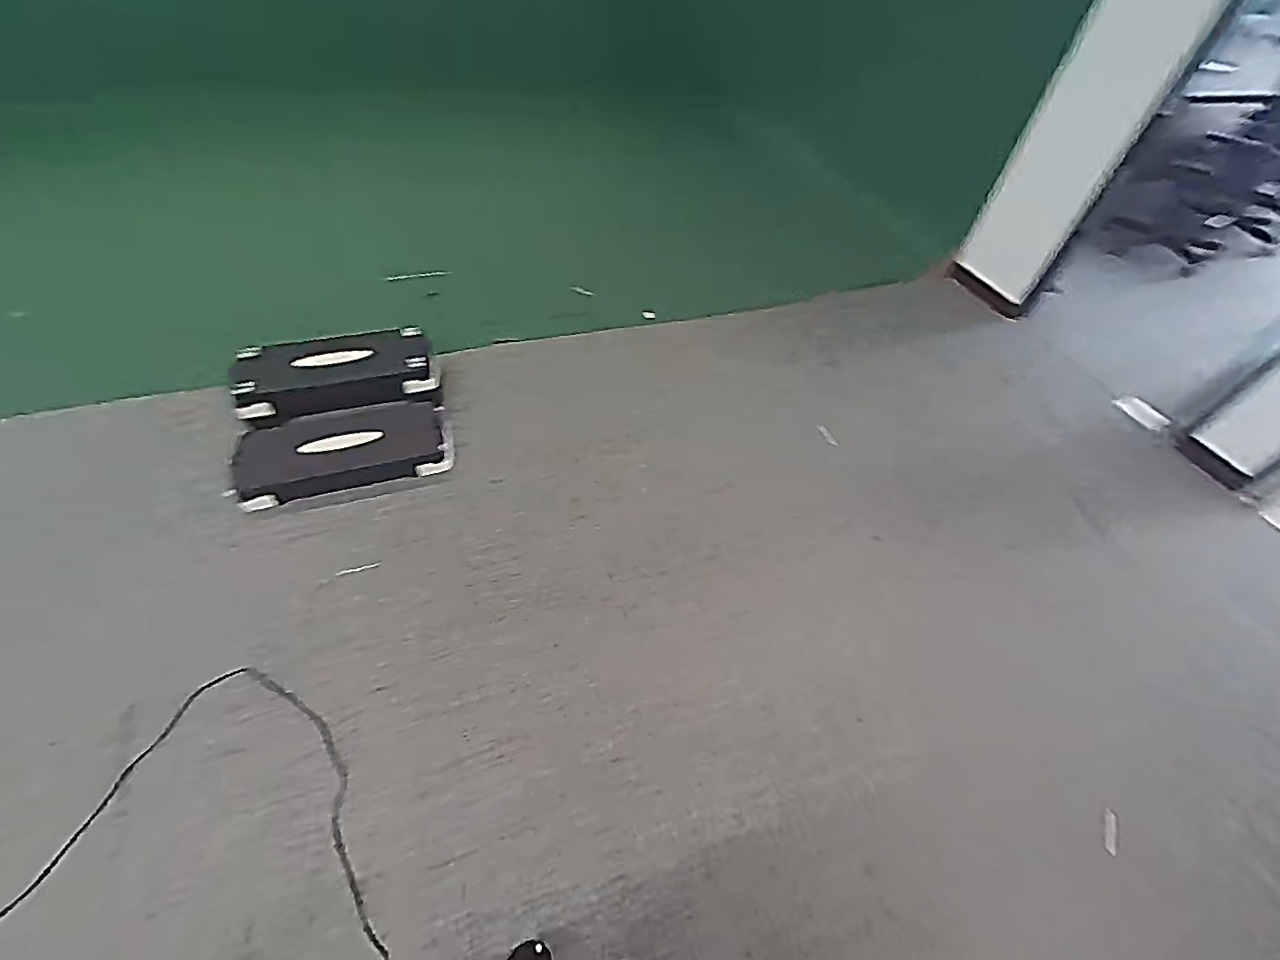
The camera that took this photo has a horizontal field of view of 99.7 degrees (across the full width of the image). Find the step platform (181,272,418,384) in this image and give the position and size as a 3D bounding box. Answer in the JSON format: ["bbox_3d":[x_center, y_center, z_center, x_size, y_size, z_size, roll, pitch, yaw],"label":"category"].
[{"bbox_3d":[-1.144,-0.536,1.882,0.684,0.204,0.286,-13,53,-15],"label":"step platform"}]
